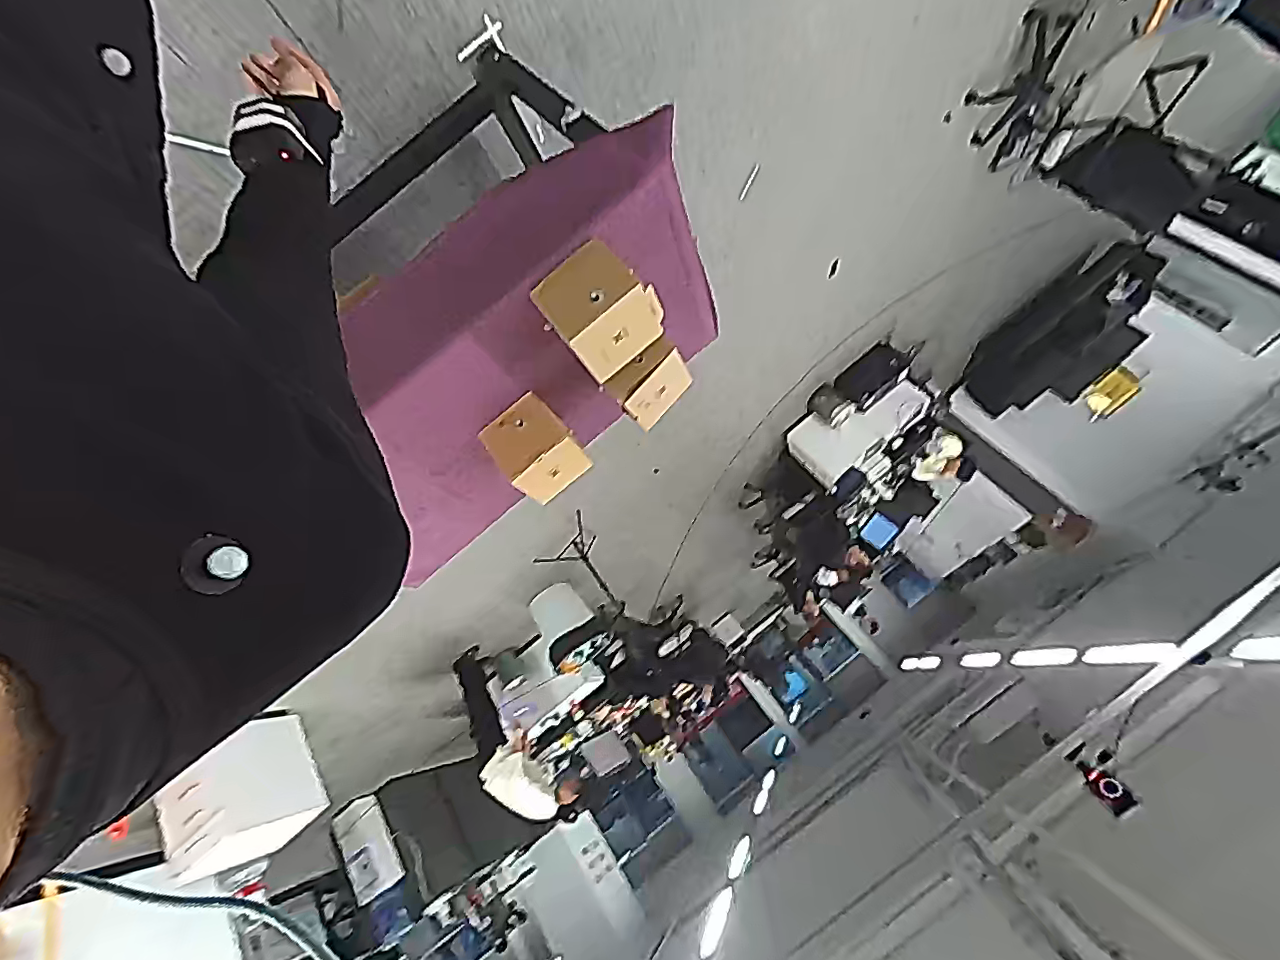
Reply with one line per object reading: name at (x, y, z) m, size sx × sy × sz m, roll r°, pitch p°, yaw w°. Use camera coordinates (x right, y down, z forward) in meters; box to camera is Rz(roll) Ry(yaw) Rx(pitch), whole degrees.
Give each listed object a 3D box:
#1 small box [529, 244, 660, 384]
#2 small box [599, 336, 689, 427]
small box at (-0.092, -0.338, 1.101) m, size 0.179 × 0.176 × 0.168 m, roll -40°, pitch 154°, yaw 1°
small box at (-0.012, -0.270, 1.319) m, size 0.179 × 0.176 × 0.168 m, roll -41°, pitch 154°, yaw 3°
